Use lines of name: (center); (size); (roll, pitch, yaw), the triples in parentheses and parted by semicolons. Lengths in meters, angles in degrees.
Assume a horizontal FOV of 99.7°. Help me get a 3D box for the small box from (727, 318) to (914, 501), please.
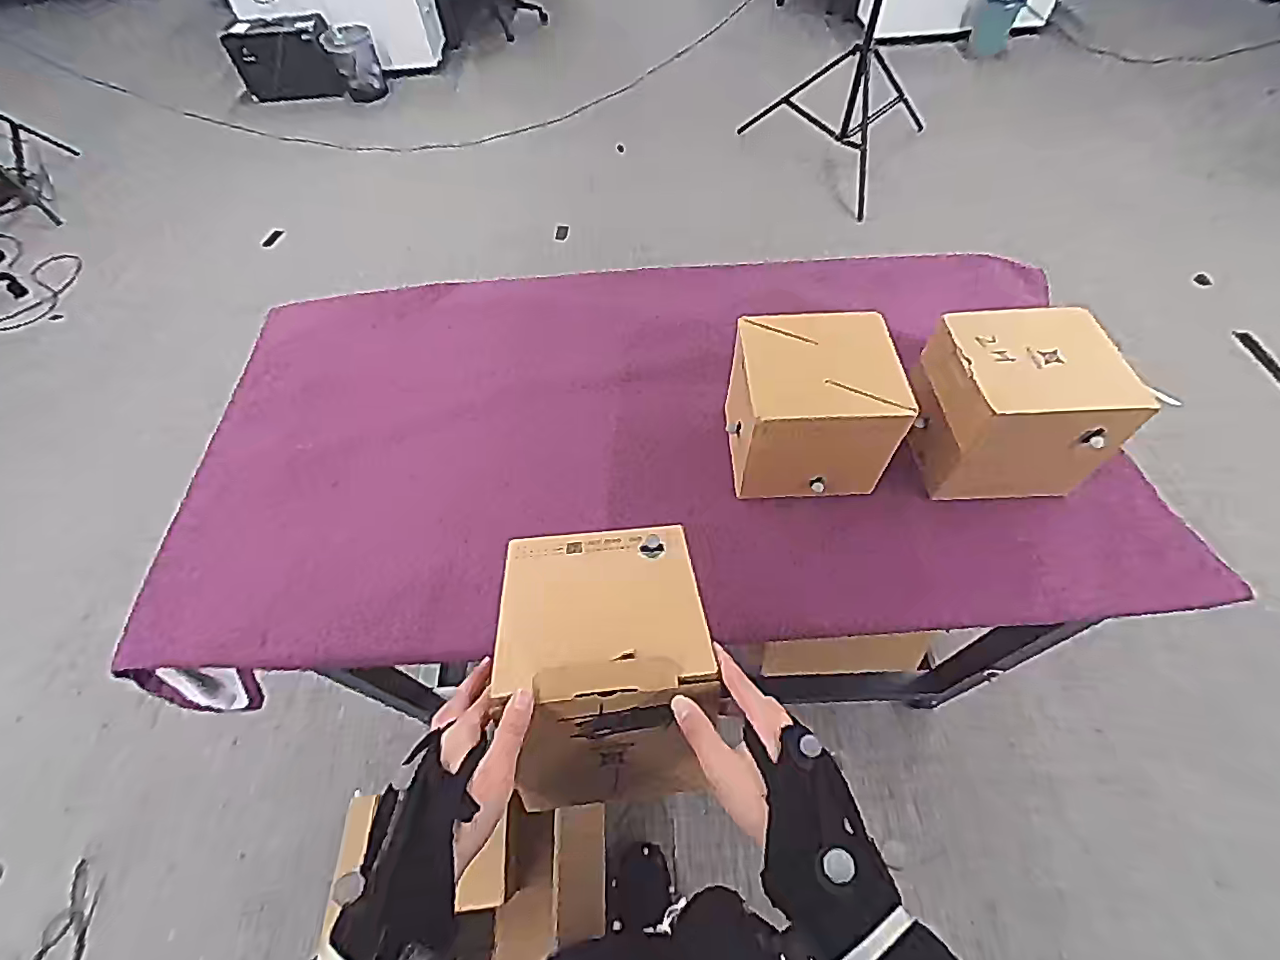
small box: (0.213, -0.088, 0.690); (0.179, 0.176, 0.168); (-2, 55, 2)

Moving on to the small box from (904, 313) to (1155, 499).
small box: (0.458, -0.088, 0.679); (0.179, 0.176, 0.168); (-2, 54, 2)
